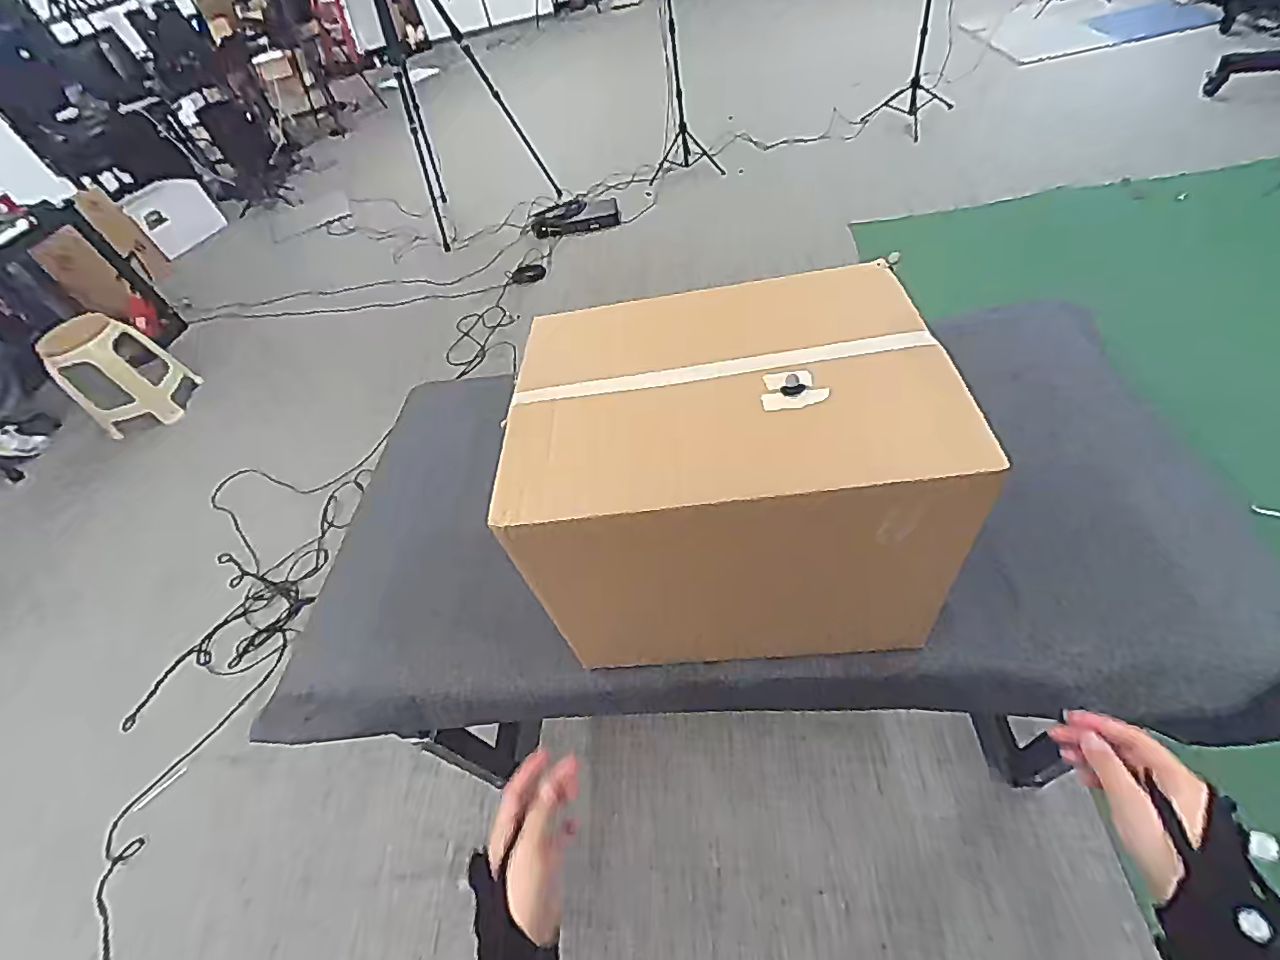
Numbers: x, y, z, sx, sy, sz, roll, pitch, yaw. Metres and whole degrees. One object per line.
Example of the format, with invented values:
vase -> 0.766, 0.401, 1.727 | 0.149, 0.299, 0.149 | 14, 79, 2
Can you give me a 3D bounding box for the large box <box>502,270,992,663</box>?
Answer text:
large box -> 0.098, -0.003, 0.642 | 0.408, 0.320, 0.320 | -6, 48, 7
